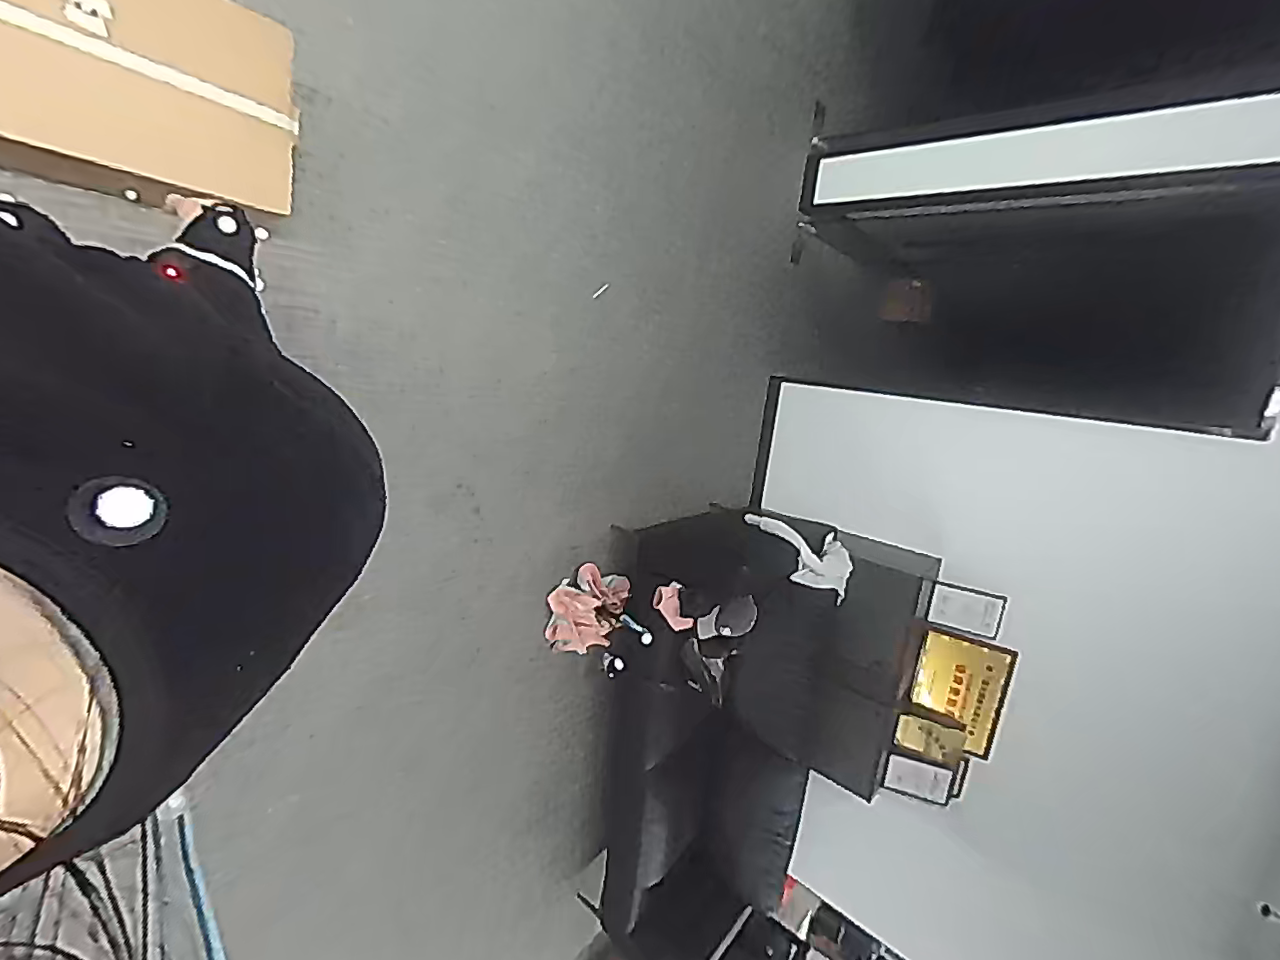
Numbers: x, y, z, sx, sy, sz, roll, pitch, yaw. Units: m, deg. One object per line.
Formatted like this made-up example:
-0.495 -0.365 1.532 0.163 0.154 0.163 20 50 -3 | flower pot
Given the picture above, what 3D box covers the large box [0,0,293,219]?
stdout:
-0.877 -0.675 0.938 0.408 0.320 0.320 -5 107 -49 | large box
